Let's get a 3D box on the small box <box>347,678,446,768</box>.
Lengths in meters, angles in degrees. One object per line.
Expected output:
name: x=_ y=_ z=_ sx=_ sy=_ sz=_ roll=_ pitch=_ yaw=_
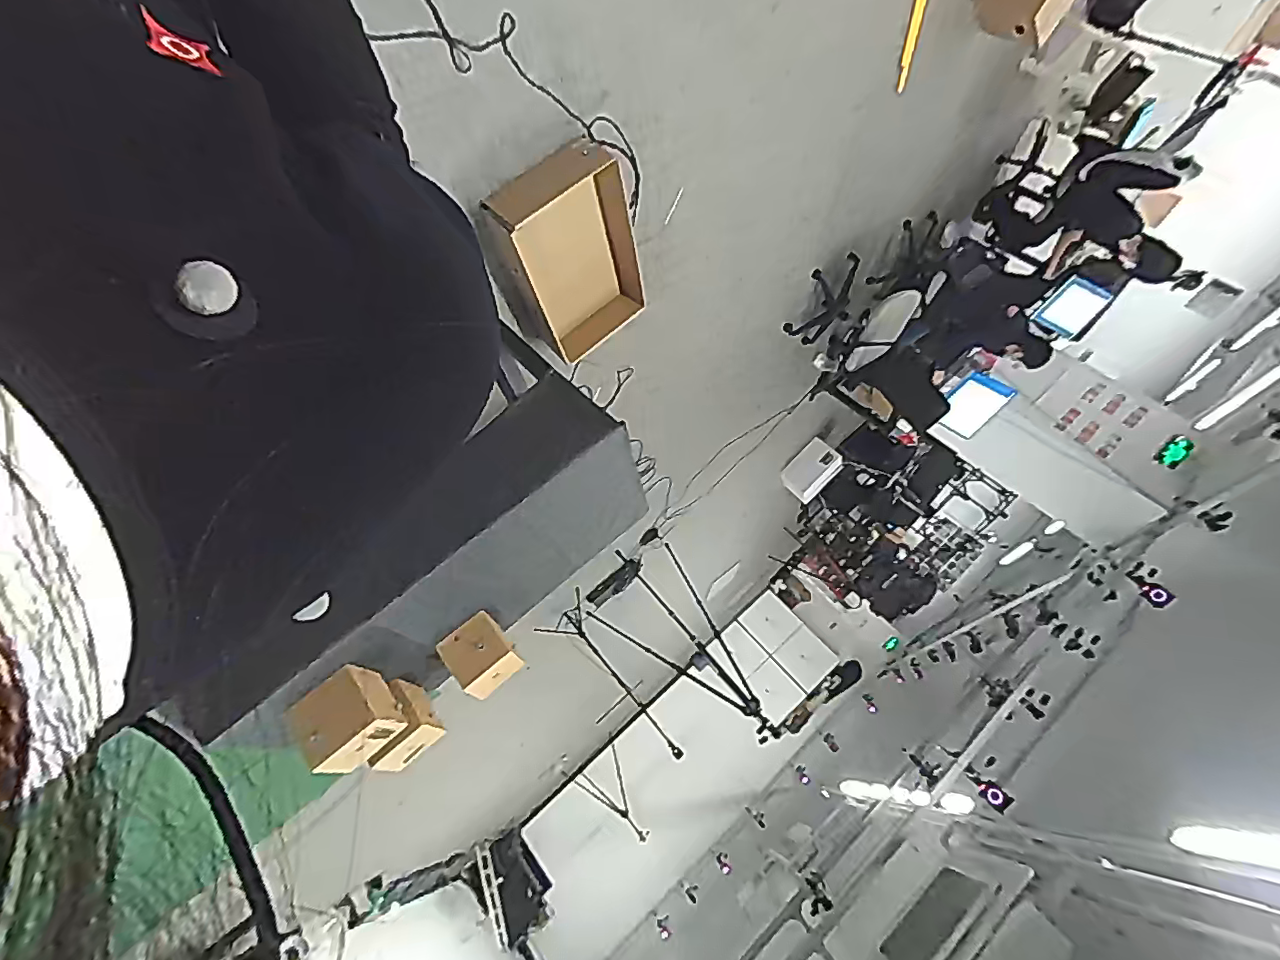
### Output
small box: x=-0.698 y=0.697 z=1.556 sx=0.168 sy=0.176 sz=0.179 roll=-38 pitch=154 yaw=-17

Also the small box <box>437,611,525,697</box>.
small box: x=-0.481 y=0.522 z=1.635 sx=0.168 sy=0.176 sz=0.179 roll=-38 pitch=155 yaw=-17
